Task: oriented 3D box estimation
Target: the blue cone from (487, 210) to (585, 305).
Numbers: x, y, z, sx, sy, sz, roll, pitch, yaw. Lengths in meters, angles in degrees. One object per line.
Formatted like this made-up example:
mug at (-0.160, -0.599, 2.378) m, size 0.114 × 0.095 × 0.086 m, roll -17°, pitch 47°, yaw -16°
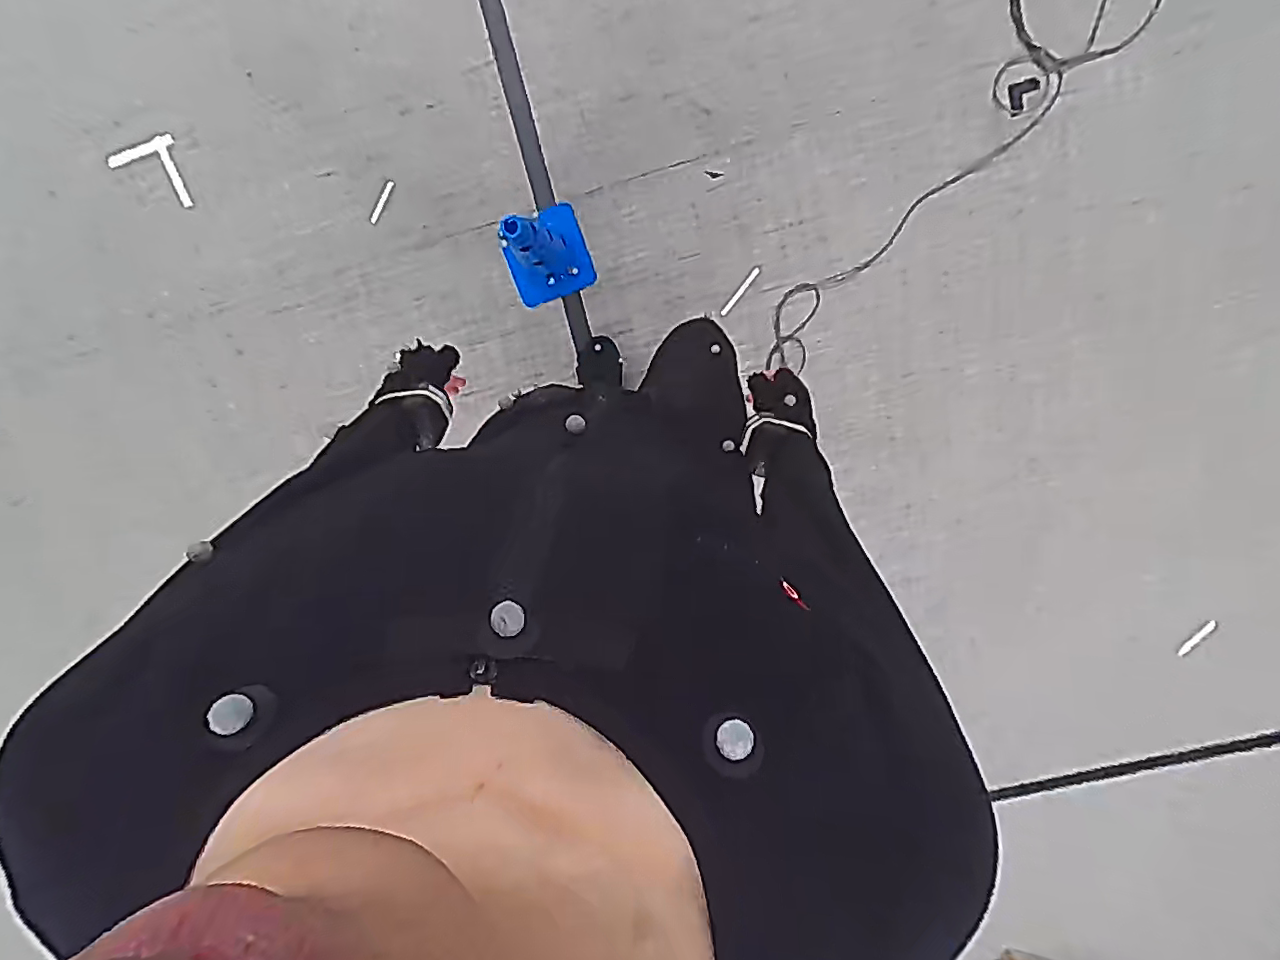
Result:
blue cone at (-0.249, -0.509, 1.176) m, size 0.192 × 0.380 × 0.193 m, roll -18°, pitch 103°, yaw 6°
